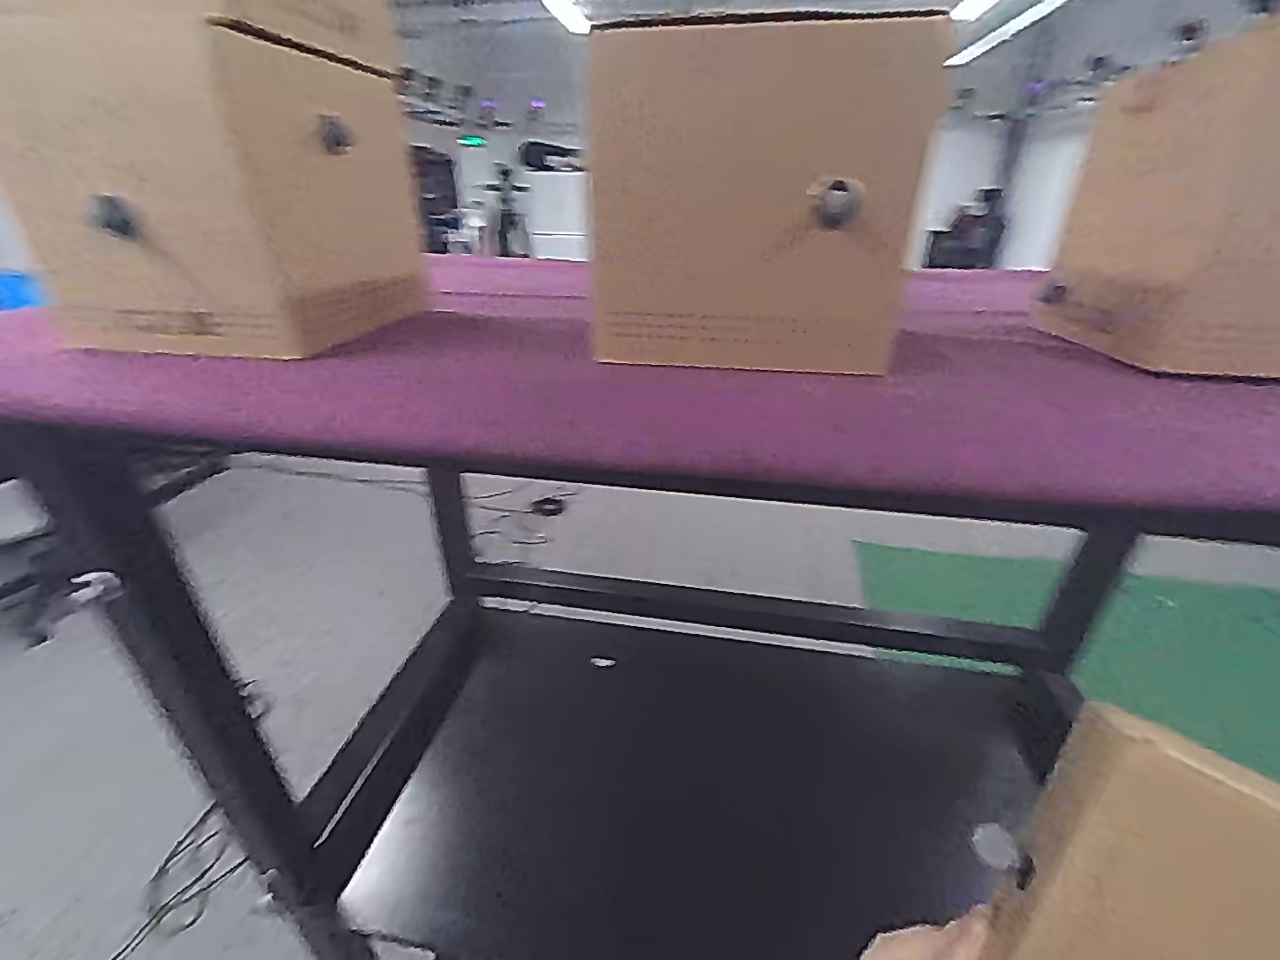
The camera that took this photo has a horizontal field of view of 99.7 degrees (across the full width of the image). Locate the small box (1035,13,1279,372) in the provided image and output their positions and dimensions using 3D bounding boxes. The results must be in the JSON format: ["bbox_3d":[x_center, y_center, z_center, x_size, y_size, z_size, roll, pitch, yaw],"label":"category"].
[{"bbox_3d":[0.387,-0.163,0.339,0.179,0.176,0.168,5,26,10],"label":"small box"}]

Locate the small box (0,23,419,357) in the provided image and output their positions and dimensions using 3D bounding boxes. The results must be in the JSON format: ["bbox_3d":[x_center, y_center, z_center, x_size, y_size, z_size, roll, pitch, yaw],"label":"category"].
[{"bbox_3d":[-0.277,-0.190,0.380,0.168,0.176,0.179,5,28,6],"label":"small box"}]

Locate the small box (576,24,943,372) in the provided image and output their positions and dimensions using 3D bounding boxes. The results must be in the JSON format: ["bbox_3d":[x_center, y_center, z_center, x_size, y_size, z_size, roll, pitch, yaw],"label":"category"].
[{"bbox_3d":[0.065,-0.174,0.362,0.179,0.176,0.168,3,27,7],"label":"small box"}]

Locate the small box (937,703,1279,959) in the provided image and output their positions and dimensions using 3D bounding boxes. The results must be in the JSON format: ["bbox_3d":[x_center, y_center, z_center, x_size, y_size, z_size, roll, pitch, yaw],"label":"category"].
[{"bbox_3d":[0.187,0.185,0.147,0.179,0.168,0.176,27,0,40],"label":"small box"}]
